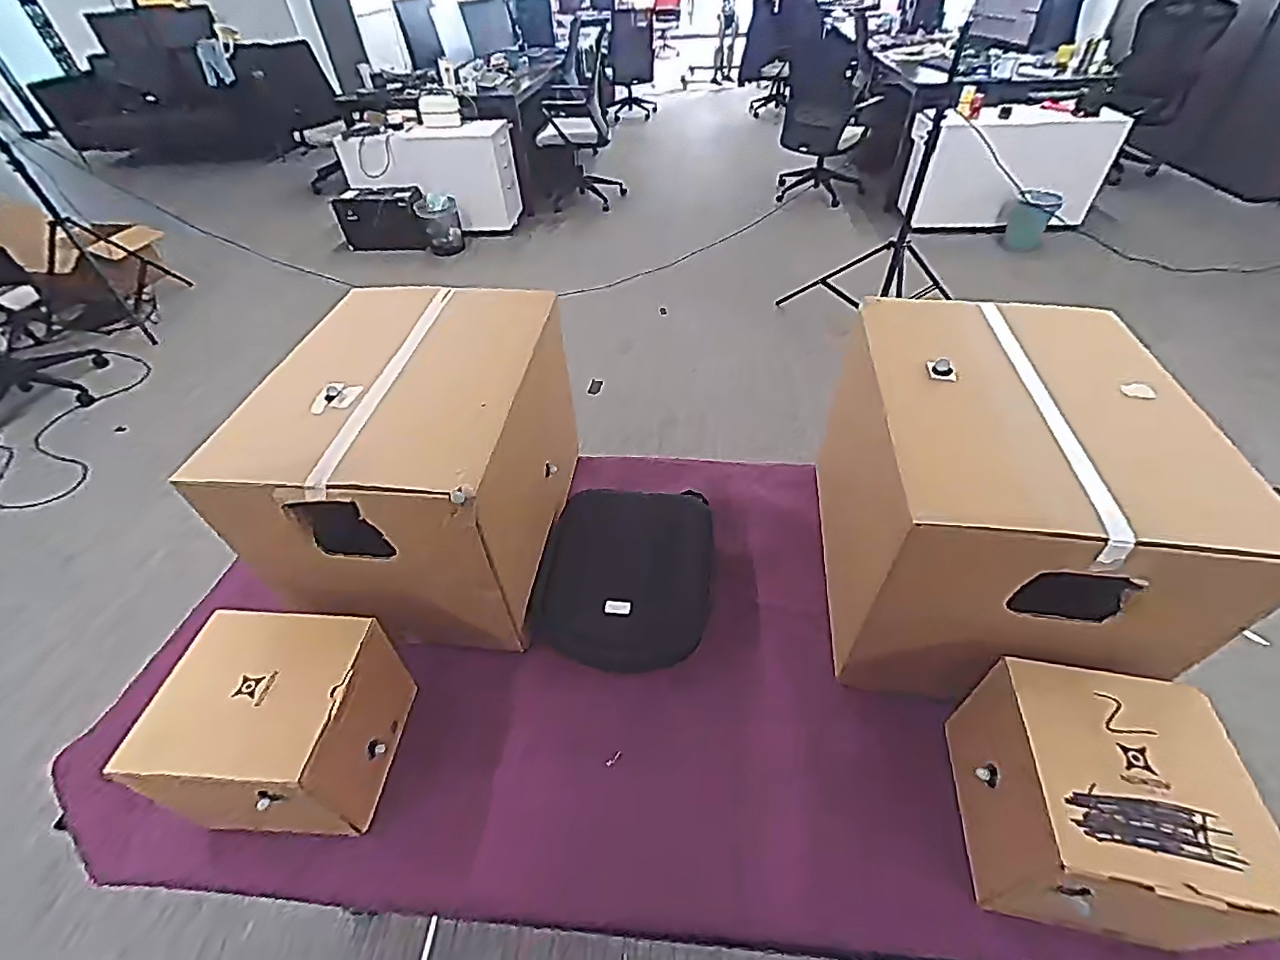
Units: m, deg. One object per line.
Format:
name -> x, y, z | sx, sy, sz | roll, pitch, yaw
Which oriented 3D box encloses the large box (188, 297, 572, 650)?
large box -> -0.289, -0.018, 0.773 | 0.320, 0.320, 0.408 | 2, 47, 5
